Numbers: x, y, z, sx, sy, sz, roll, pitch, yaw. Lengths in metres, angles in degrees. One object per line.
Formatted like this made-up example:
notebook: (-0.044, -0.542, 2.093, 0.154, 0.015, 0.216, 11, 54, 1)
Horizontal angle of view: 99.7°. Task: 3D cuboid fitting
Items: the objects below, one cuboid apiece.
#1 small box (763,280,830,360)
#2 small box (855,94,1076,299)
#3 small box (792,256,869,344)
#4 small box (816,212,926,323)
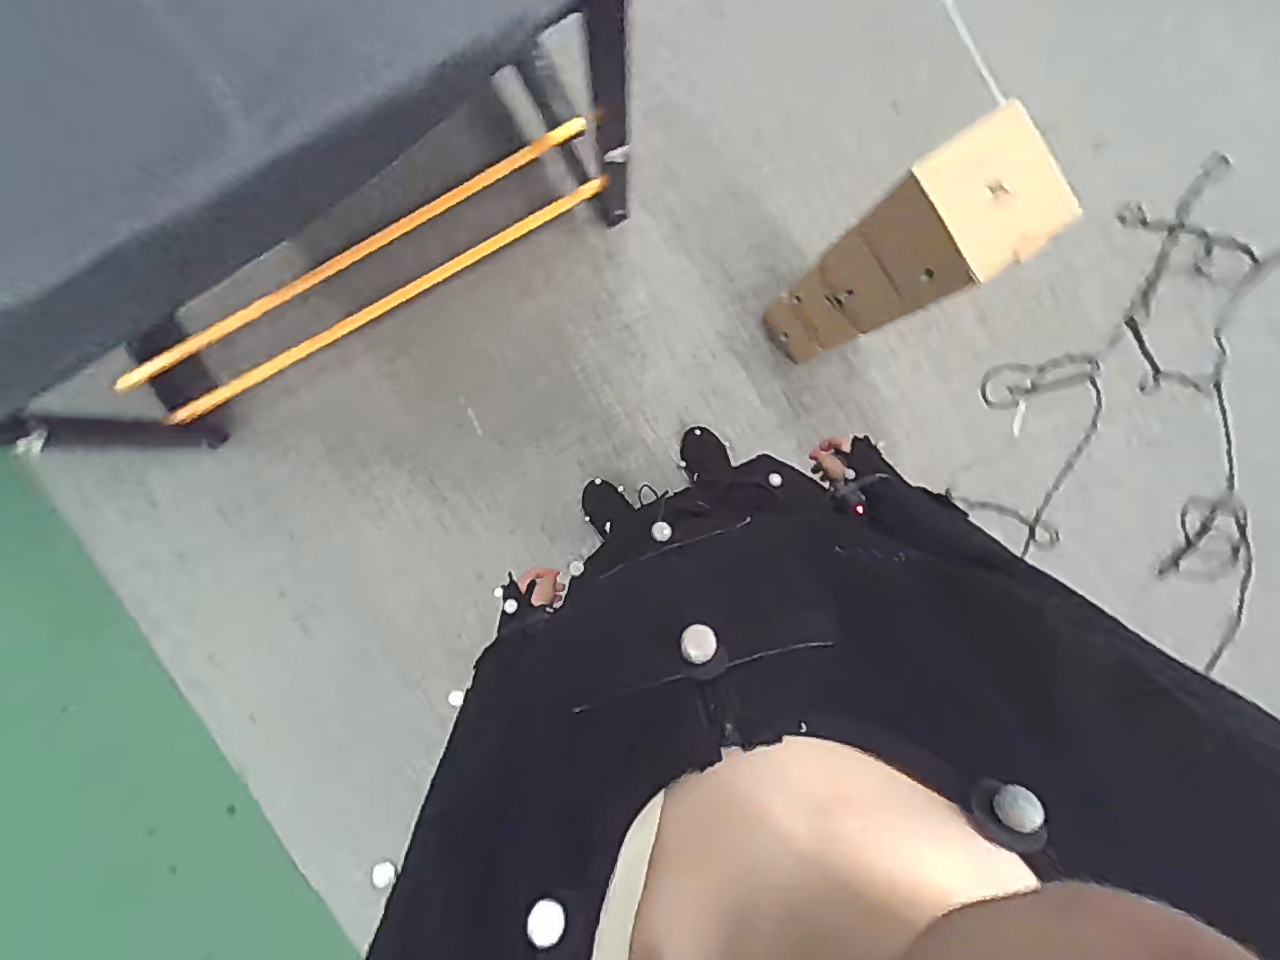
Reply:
small box: (0.417, -0.404, 1.263, 0.179, 0.176, 0.168, -36, 93, 1)
small box: (0.448, -0.382, 0.773, 0.168, 0.176, 0.179, -35, 93, 0)
small box: (0.432, -0.400, 1.099, 0.179, 0.176, 0.168, -36, 94, 0)
small box: (0.440, -0.393, 0.936, 0.168, 0.176, 0.179, -35, 95, 0)
